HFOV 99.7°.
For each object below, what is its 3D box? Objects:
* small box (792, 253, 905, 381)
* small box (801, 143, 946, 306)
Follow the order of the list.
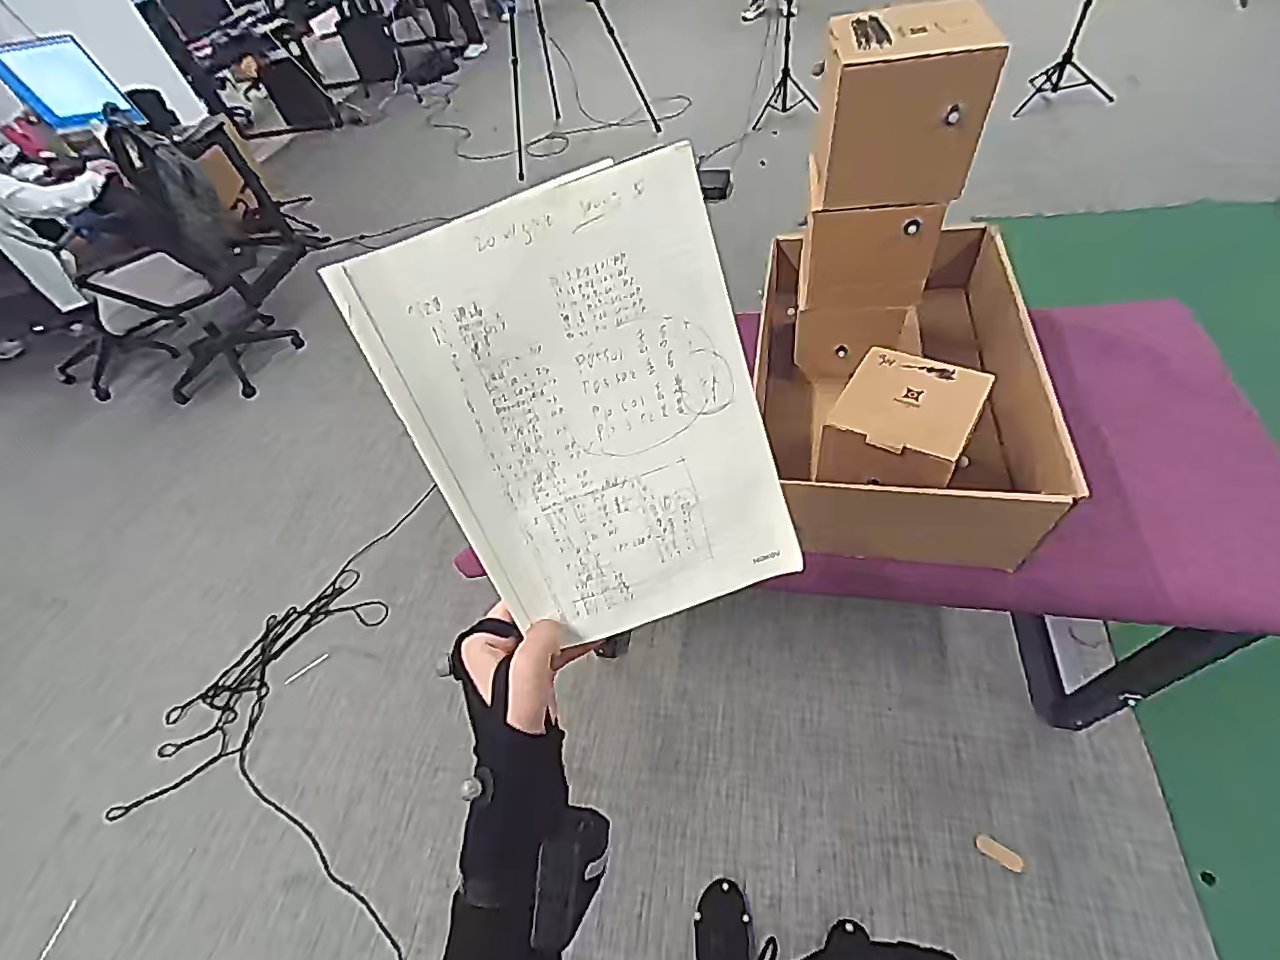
[{"bbox_3d":[0.364,-0.294,0.965,0.168,0.176,0.179,4,56,14],"label":"small box"},{"bbox_3d":[0.343,-0.385,0.833,0.179,0.176,0.168,2,55,13],"label":"small box"}]
